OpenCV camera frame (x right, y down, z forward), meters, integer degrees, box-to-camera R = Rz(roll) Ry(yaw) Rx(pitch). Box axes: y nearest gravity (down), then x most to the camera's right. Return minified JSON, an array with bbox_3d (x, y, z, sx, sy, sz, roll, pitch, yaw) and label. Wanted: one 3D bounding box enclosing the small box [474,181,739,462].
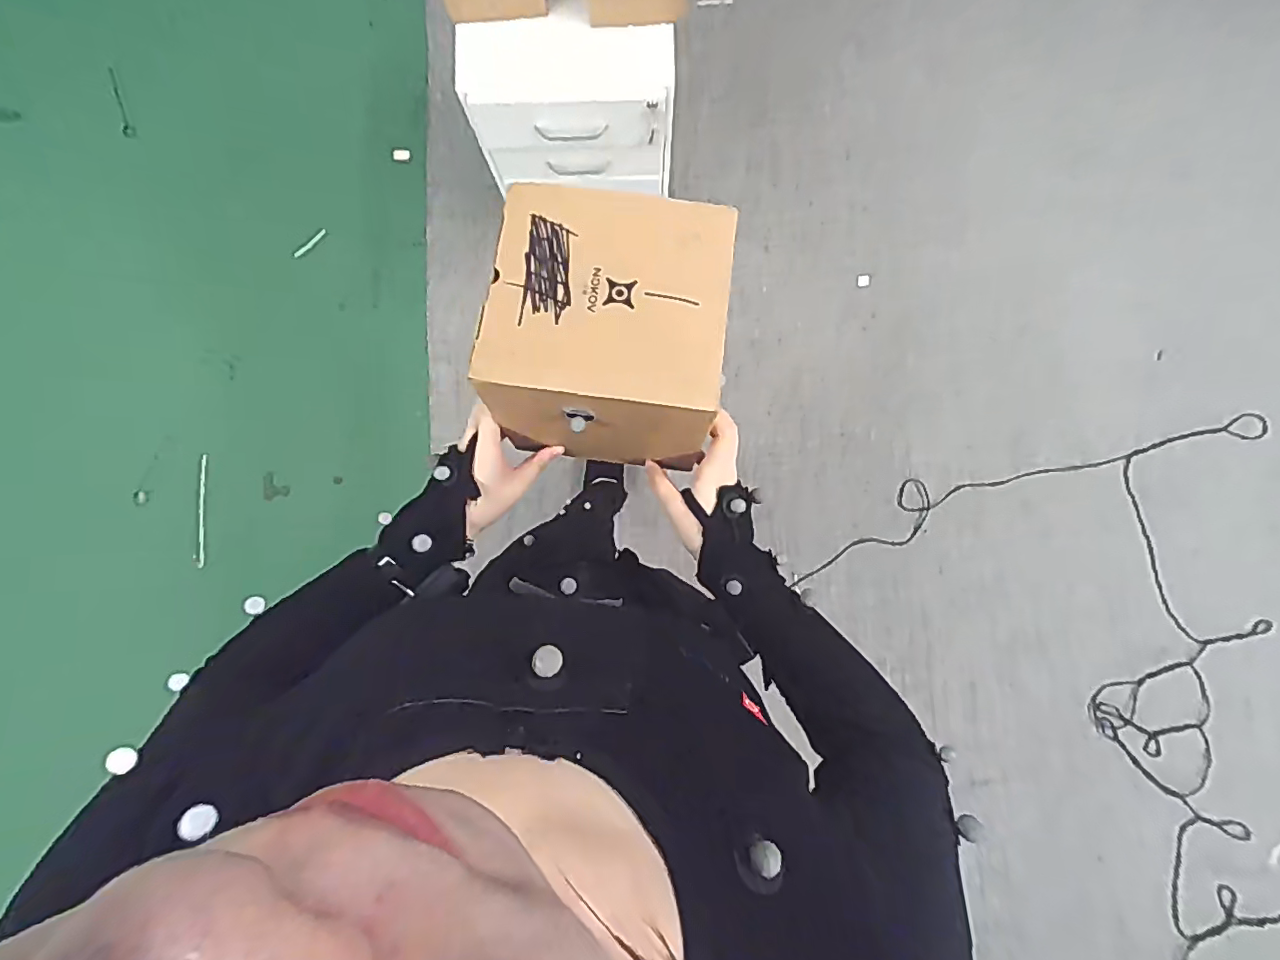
[{"bbox_3d":[-0.023,-0.121,0.473,0.179,0.176,0.168,8,77,0],"label":"small box"}]
